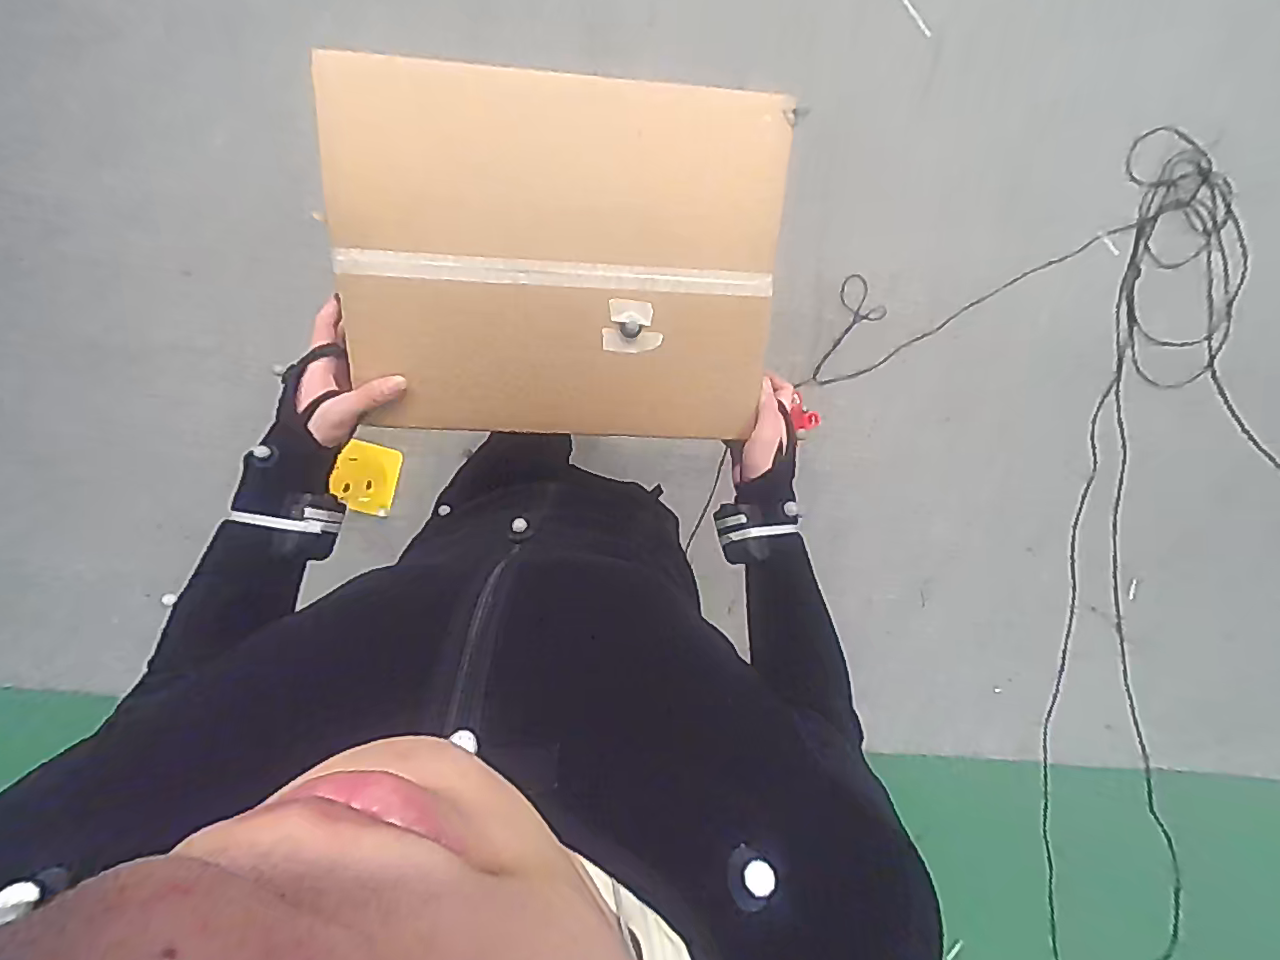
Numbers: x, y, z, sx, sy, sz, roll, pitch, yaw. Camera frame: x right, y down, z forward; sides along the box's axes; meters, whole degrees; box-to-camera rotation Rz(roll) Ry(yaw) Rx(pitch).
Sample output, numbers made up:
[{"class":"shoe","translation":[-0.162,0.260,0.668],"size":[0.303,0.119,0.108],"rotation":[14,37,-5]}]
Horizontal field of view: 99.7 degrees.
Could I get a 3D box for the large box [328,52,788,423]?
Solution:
[{"class":"large box","translation":[-0.084,-0.256,0.654],"size":[0.408,0.320,0.320],"rotation":[1,110,-6]}]
